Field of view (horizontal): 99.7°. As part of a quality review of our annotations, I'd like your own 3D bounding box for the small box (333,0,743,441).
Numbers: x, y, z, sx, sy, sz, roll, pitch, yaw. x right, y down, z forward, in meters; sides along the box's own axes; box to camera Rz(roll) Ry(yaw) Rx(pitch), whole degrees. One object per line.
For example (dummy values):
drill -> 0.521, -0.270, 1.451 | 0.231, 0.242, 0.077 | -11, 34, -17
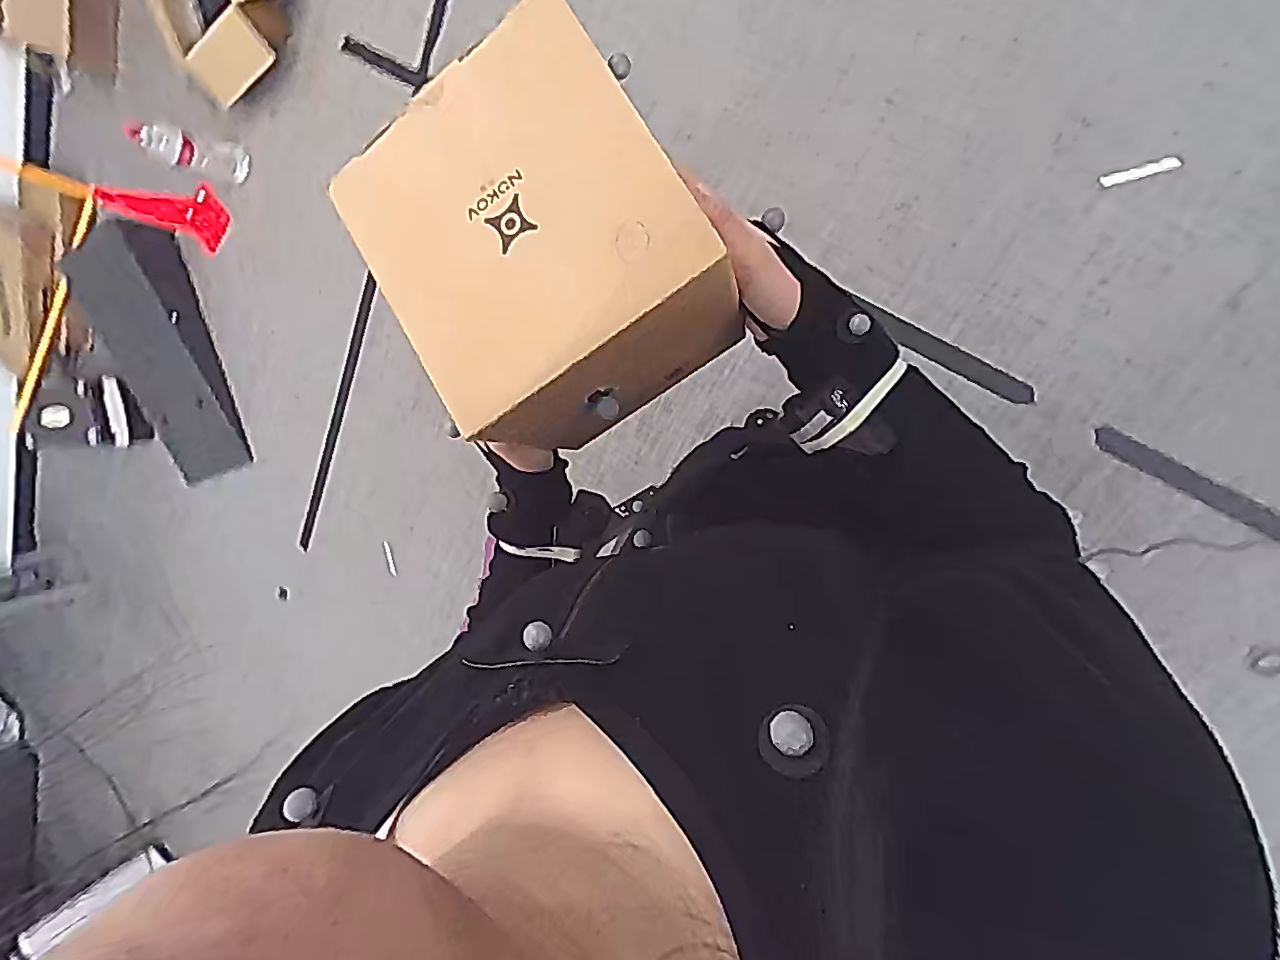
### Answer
small box -> -0.045, -0.138, 0.356 | 0.168, 0.176, 0.179 | -32, 83, 13
